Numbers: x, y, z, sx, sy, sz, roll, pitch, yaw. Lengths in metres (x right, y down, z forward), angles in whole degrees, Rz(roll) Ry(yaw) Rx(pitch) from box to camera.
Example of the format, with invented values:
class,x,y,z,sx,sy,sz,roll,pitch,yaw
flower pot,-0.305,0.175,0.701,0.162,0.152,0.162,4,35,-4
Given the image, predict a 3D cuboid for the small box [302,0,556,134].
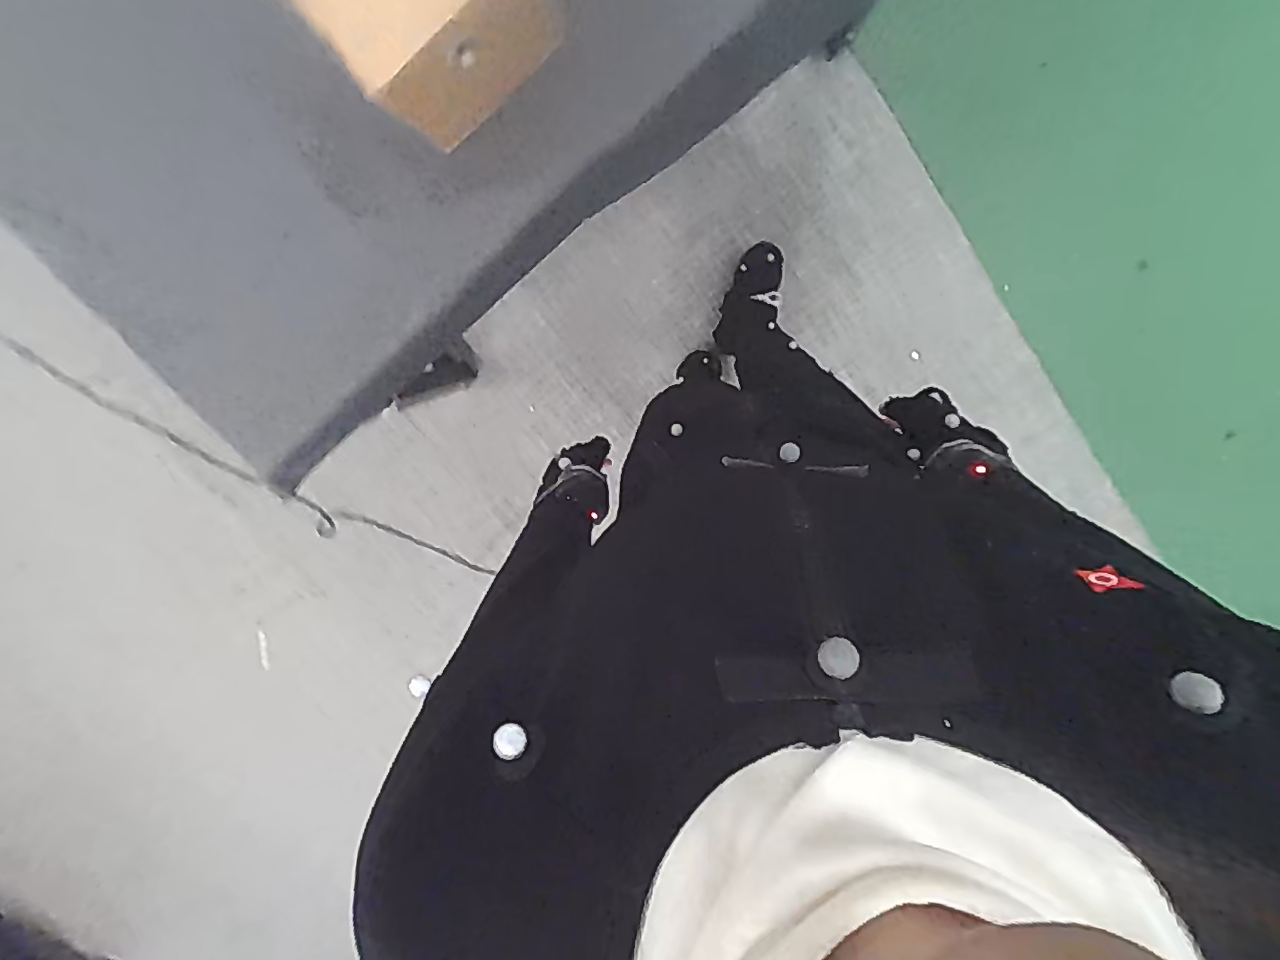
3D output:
class,x,y,z,sx,sy,sz,roll,pitch,yaw
small box,-0.200,-0.461,0.489,0.179,0.176,0.168,-37,103,13
